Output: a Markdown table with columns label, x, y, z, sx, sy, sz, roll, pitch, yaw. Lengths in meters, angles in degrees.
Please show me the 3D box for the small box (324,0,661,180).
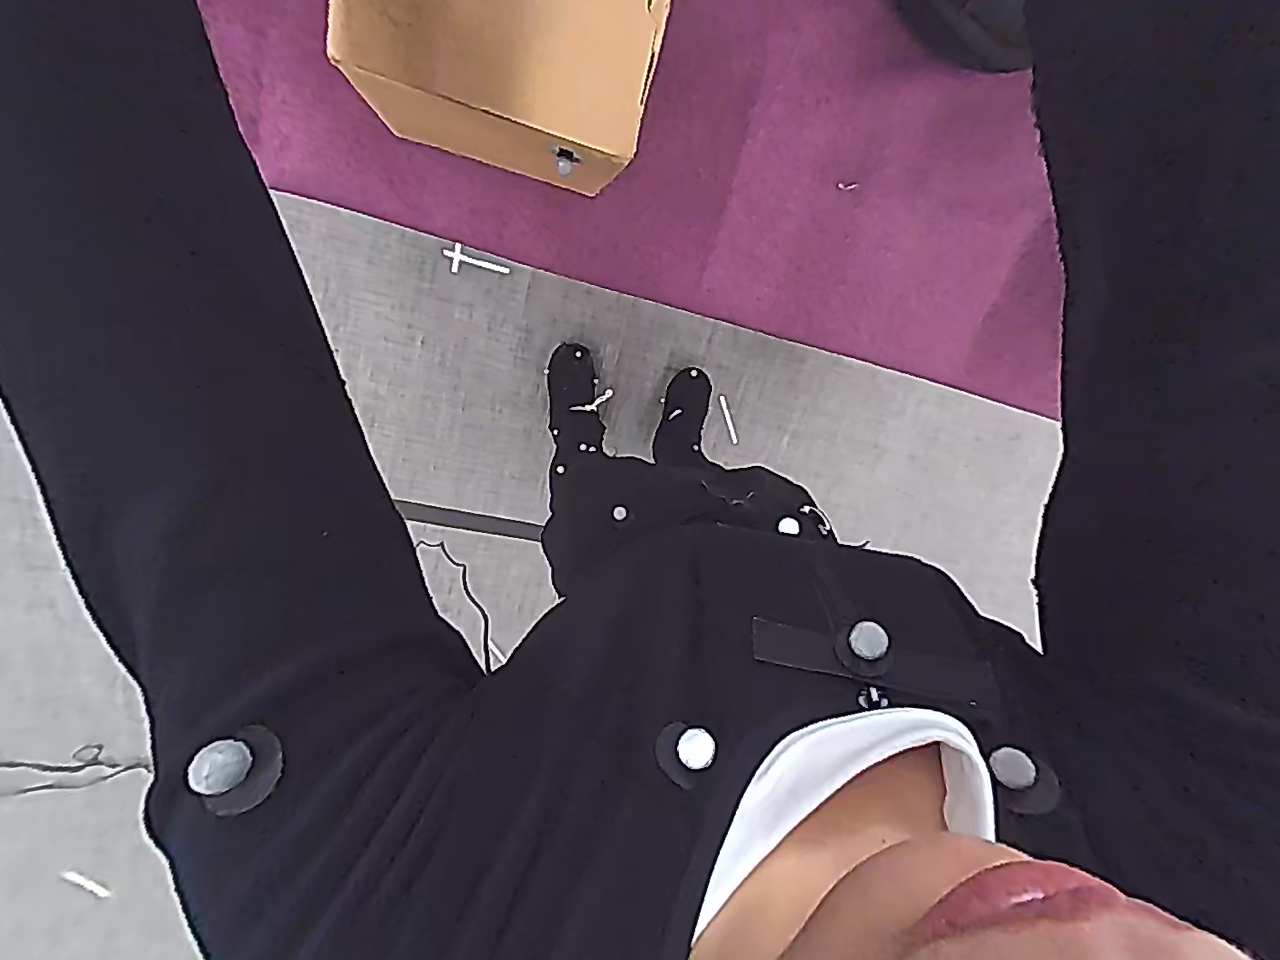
| label | x | y | z | sx | sy | sz | roll | pitch | yaw |
| --- | --- | --- | --- | --- | --- | --- | --- | --- | --- |
| small box | -0.087 | -0.322 | 0.364 | 0.179 | 0.176 | 0.168 | 8 | 109 | -17 |
